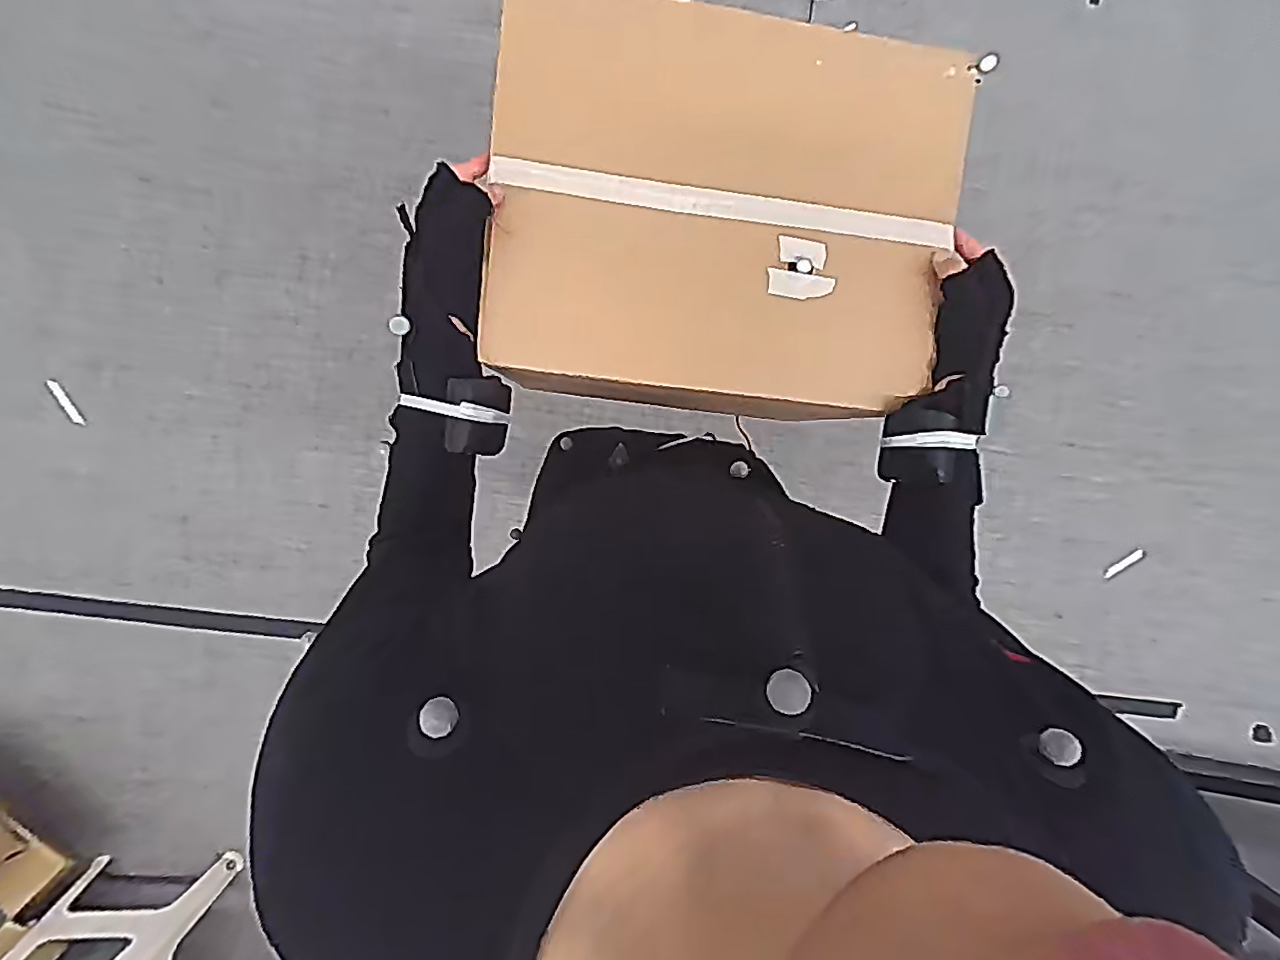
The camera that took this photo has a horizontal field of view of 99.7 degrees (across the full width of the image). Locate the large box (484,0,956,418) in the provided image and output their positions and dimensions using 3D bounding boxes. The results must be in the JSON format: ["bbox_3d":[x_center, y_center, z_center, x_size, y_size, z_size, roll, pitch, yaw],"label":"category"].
[{"bbox_3d":[0.057,-0.246,0.621,0.408,0.320,0.320,6,96,-7],"label":"large box"}]
